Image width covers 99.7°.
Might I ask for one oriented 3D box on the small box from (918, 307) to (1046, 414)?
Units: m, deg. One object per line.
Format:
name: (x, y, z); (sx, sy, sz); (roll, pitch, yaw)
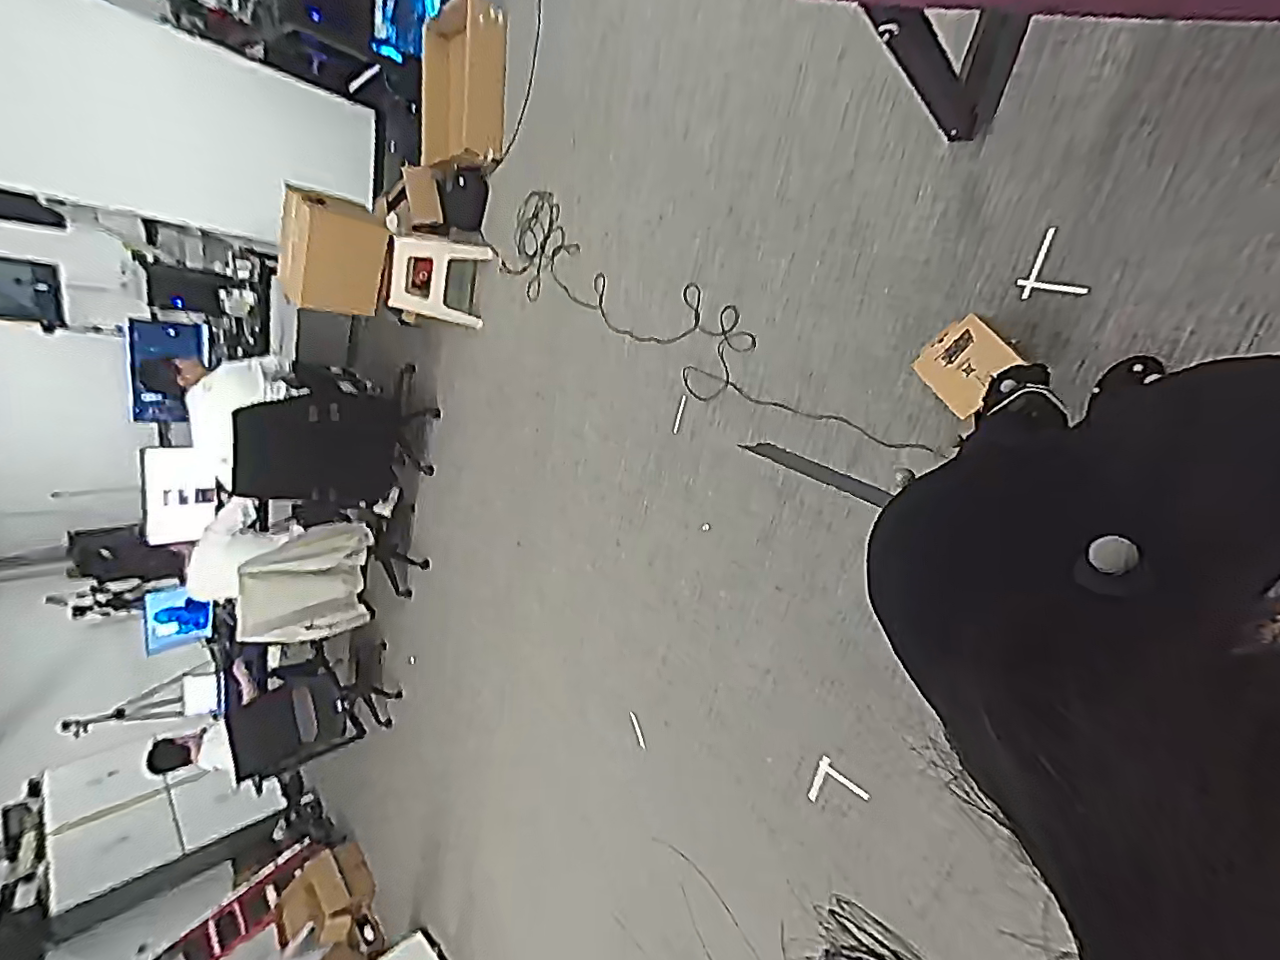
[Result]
small box: (0.783, -0.265, 1.236); (0.168, 0.176, 0.179); (-48, 65, 36)
